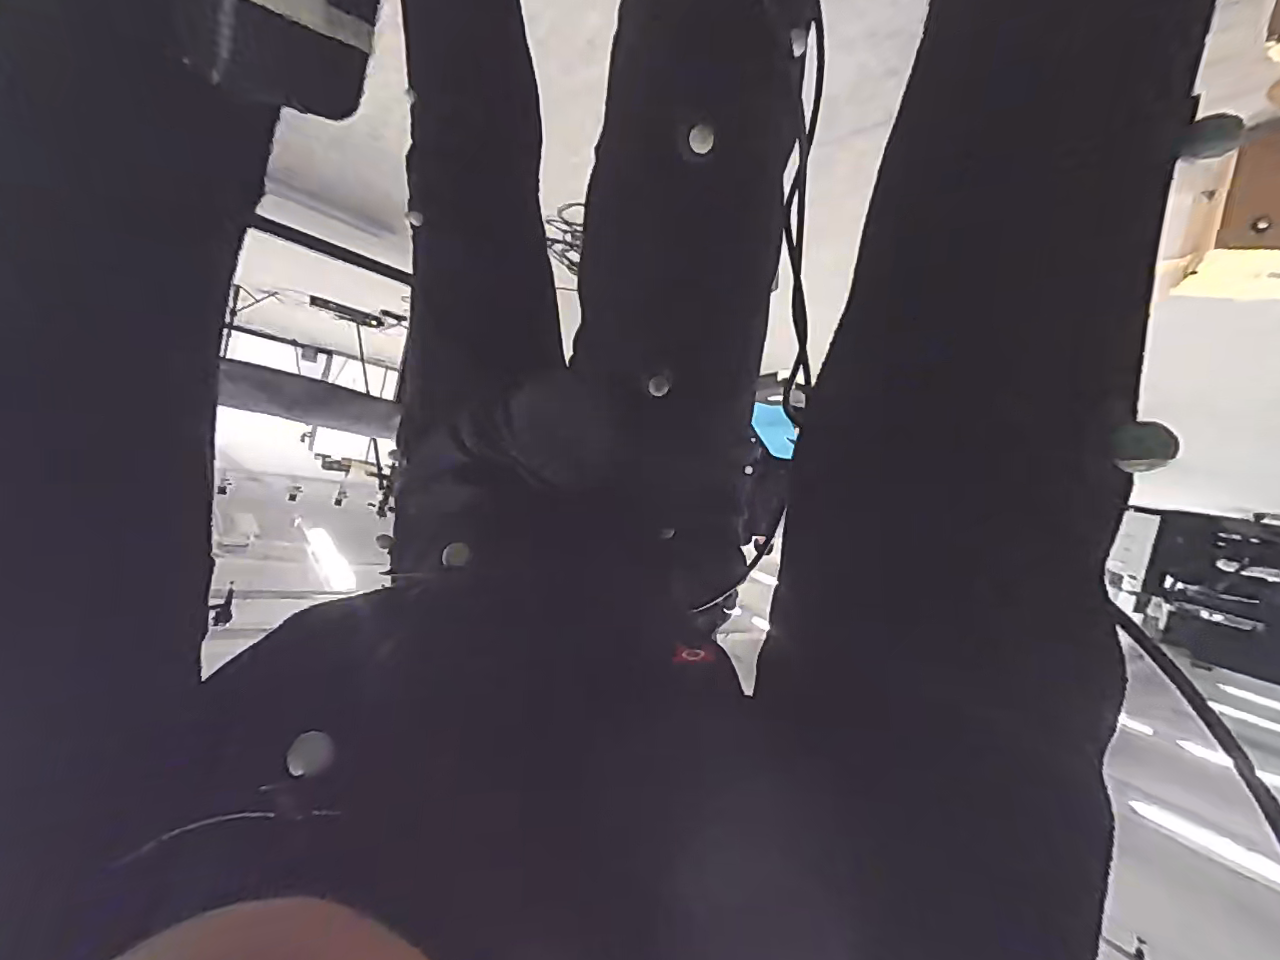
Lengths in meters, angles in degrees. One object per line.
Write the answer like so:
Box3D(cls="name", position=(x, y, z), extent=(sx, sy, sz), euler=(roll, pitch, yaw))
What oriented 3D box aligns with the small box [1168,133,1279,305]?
Box3D(cls="small box", position=(0.897, -0.356, 0.748), extent=(0.179, 0.176, 0.168), euler=(15, -177, 29))
